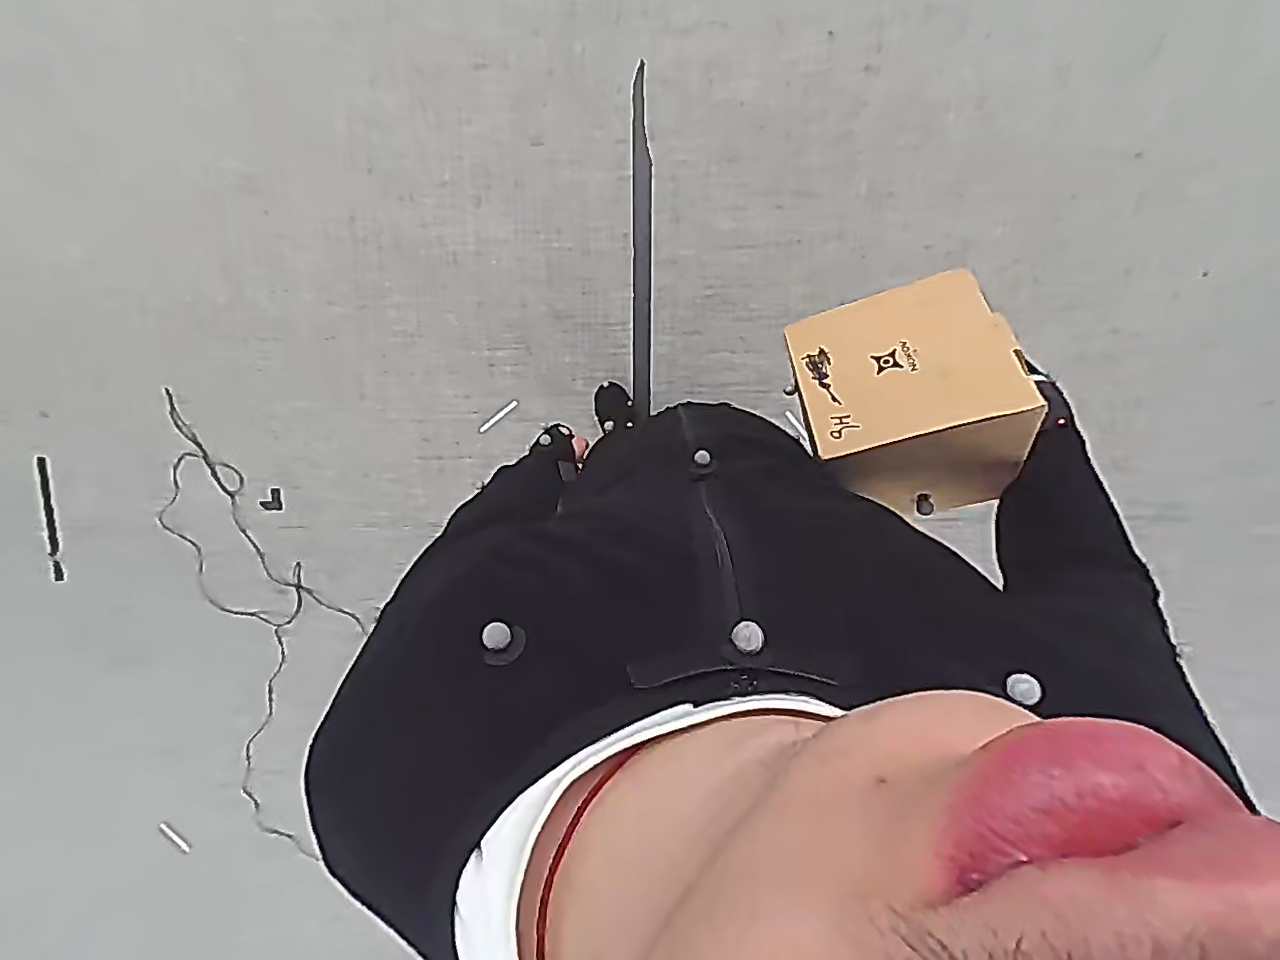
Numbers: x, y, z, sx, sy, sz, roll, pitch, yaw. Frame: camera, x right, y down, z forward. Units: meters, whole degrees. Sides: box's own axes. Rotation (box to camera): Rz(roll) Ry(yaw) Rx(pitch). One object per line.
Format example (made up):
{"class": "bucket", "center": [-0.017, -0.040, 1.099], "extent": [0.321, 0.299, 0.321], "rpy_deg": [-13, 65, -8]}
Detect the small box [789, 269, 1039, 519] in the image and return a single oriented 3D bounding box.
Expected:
{"class": "small box", "center": [0.266, -0.077, 0.564], "extent": [0.179, 0.176, 0.168], "rpy_deg": [-14, 57, 16]}
